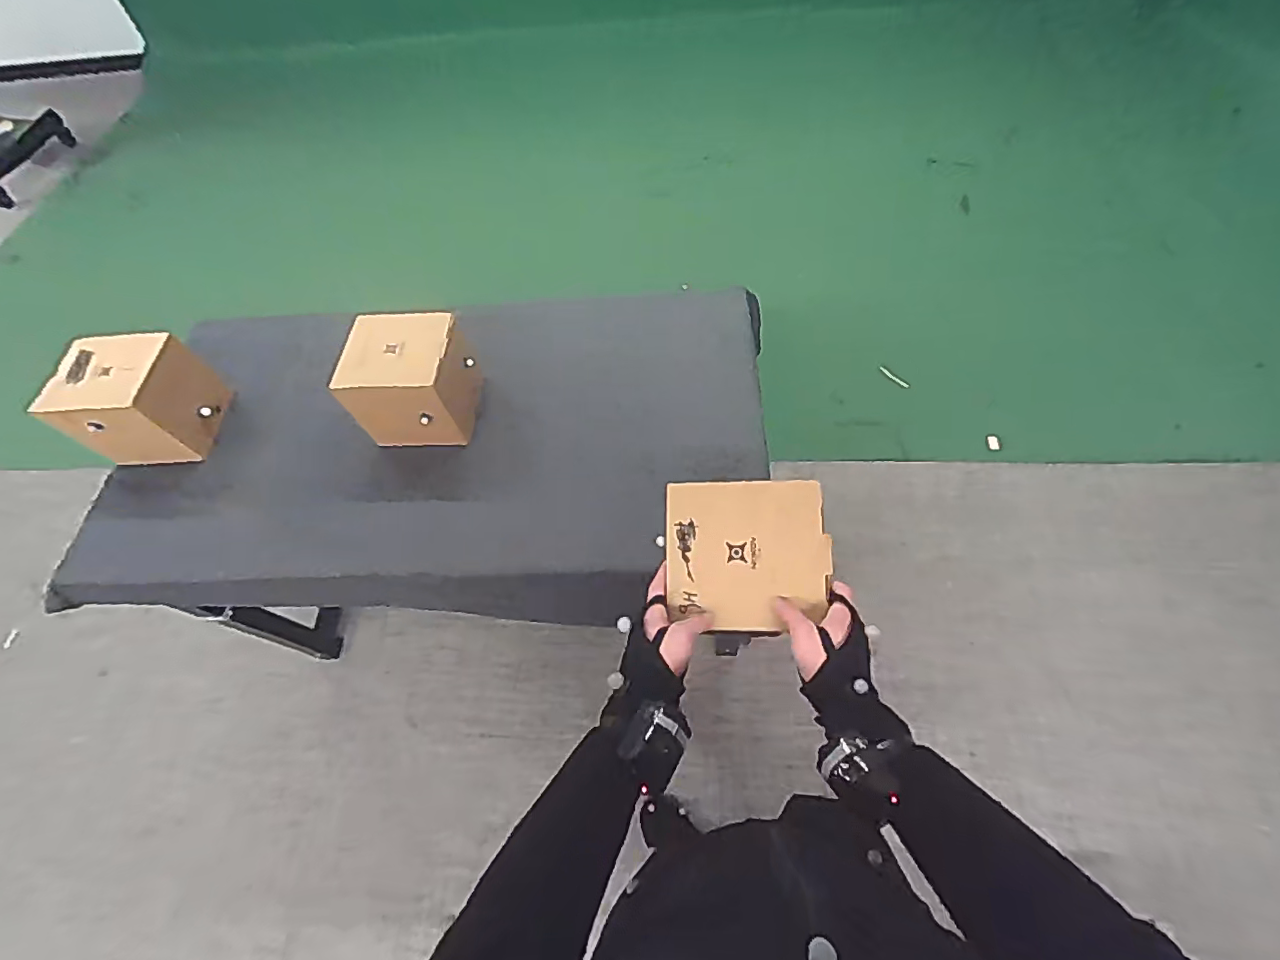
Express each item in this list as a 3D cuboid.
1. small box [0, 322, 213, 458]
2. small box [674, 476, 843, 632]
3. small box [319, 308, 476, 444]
[{"bbox_3d":[-0.901,-0.149,0.929,0.179,0.176,0.168,-2,59,0],"label":"small box"},{"bbox_3d":[0.132,0.097,0.657,0.179,0.176,0.168,0,73,6],"label":"small box"},{"bbox_3d":[-0.398,-0.173,0.927,0.179,0.176,0.168,-1,58,3],"label":"small box"}]
